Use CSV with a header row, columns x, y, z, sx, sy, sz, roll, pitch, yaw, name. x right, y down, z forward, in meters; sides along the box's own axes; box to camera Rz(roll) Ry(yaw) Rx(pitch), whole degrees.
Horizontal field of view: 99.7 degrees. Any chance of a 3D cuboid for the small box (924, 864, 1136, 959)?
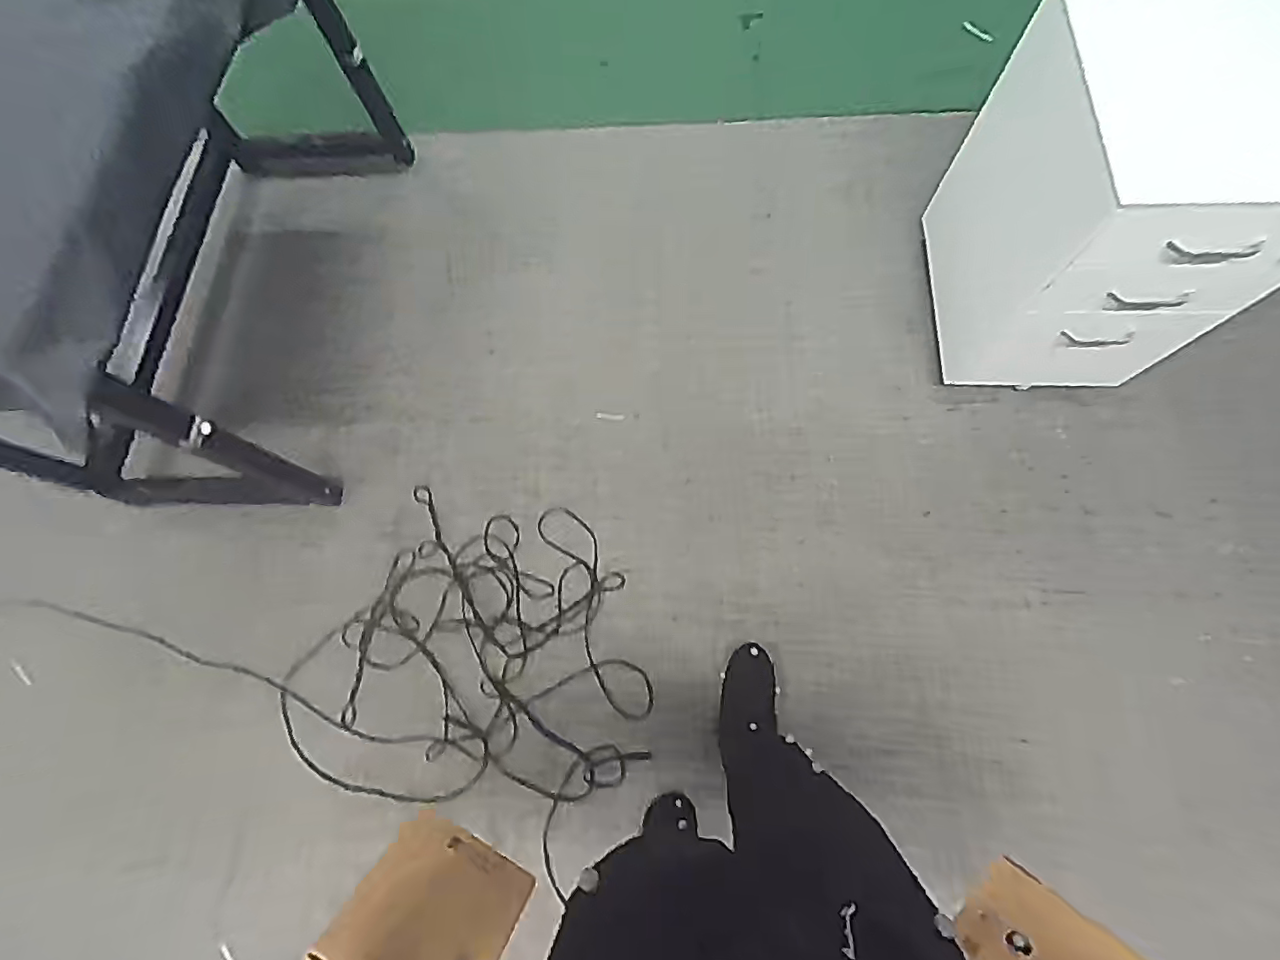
x,y,z,sx,sy,sz,roll,pitch,yaw,name
0.427,0.558,0.565,0.168,0.176,0.179,-37,118,-19,small box
